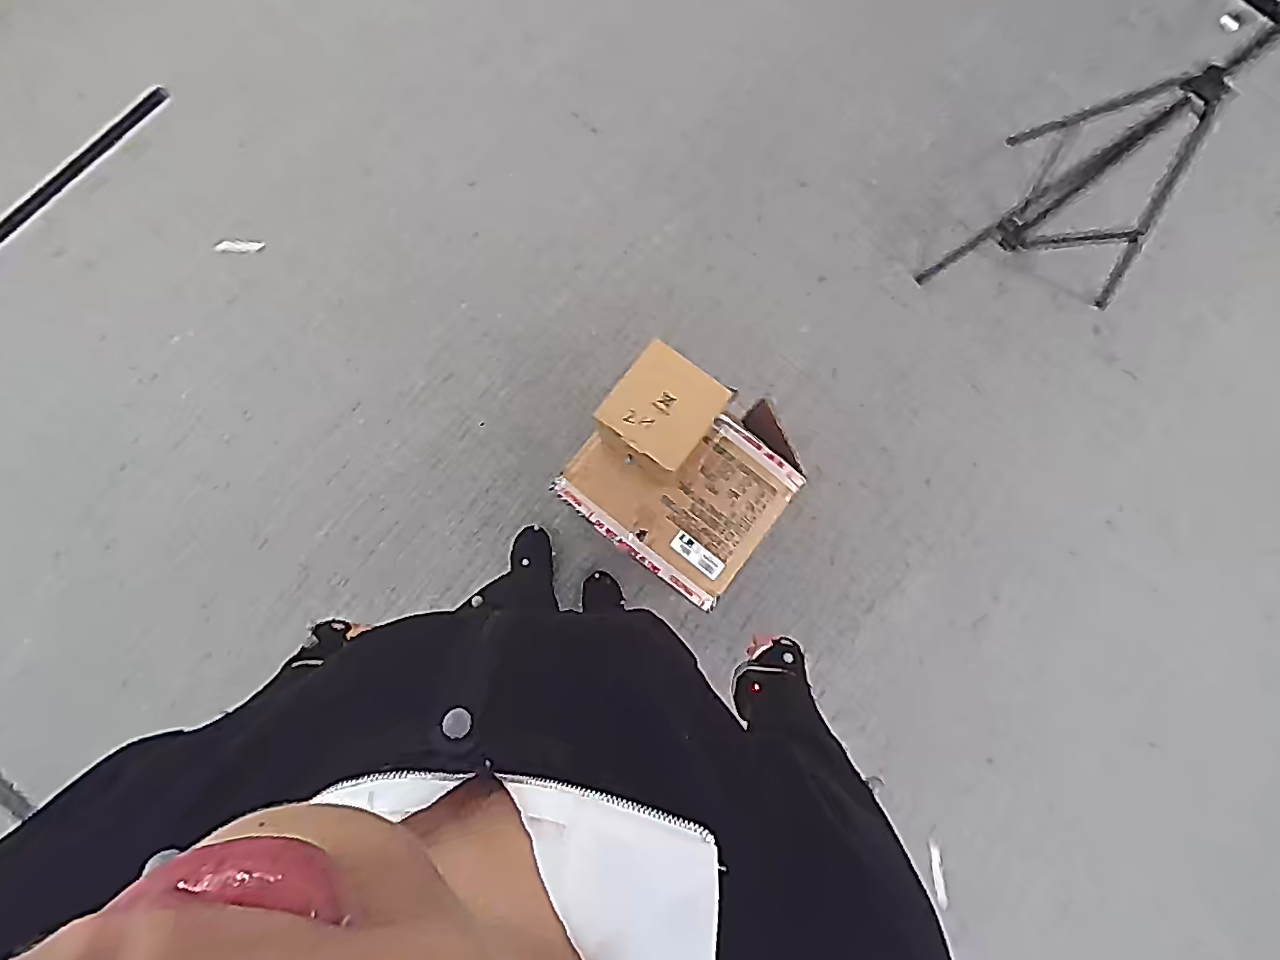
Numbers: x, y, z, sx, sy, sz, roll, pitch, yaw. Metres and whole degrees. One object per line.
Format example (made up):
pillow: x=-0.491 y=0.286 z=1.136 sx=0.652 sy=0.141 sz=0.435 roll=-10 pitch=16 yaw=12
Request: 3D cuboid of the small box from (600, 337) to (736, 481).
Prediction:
small box: x=0.046 y=-0.119 z=0.980 sx=0.168 sy=0.176 sz=0.179 roll=37 pitch=84 yaw=5
